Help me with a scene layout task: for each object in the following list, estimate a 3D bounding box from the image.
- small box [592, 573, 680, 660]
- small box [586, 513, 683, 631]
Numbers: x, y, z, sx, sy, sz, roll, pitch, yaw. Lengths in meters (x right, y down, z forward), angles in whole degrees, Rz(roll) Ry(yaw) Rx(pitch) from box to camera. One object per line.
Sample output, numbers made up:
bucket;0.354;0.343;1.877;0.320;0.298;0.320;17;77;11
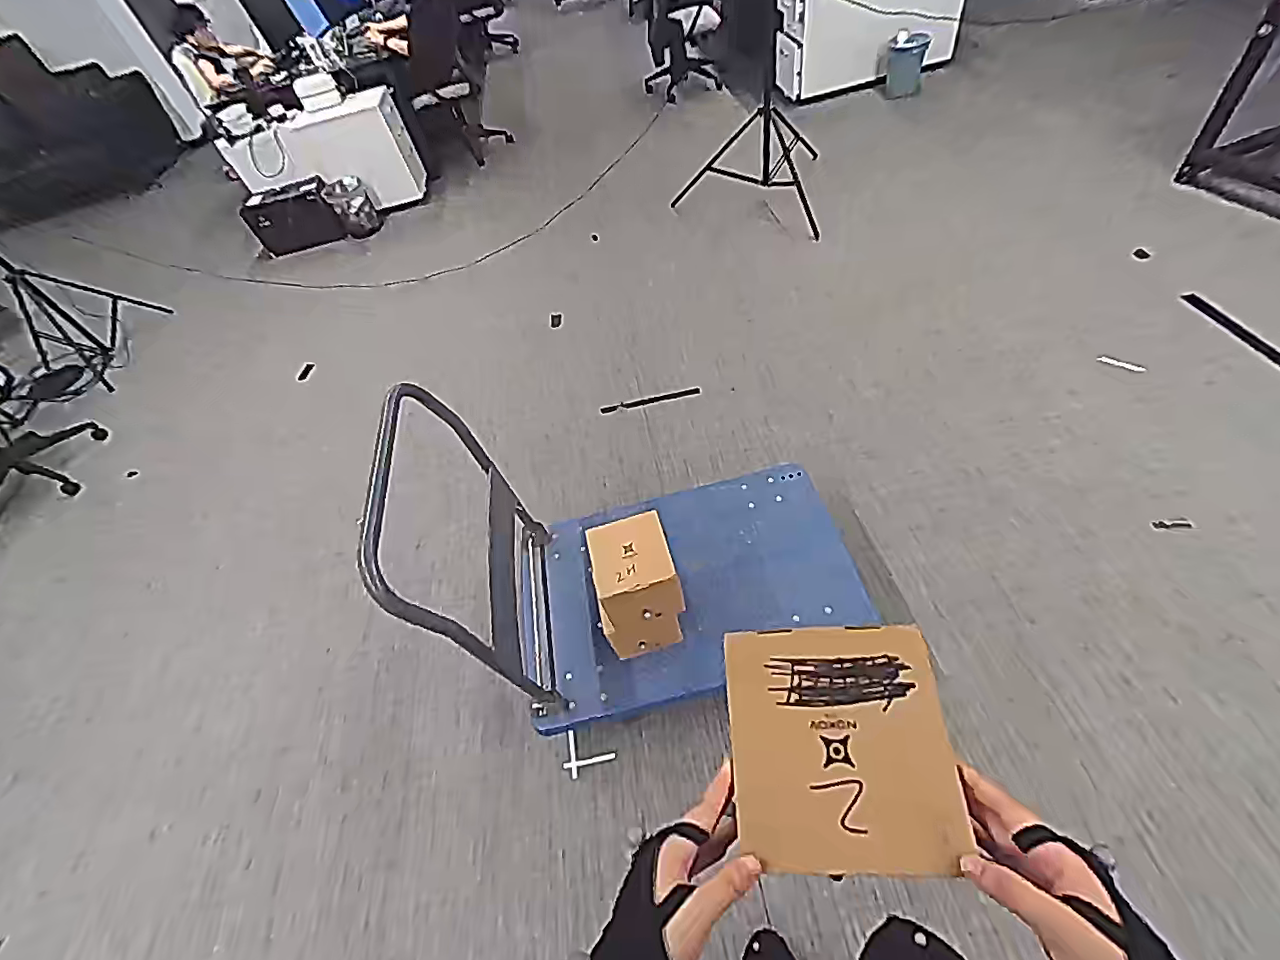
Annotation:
small box;-0.008;0.312;1.324;0.168;0.176;0.179;-17;51;-1
small box;-0.011;0.205;1.197;0.168;0.176;0.179;-17;51;0
